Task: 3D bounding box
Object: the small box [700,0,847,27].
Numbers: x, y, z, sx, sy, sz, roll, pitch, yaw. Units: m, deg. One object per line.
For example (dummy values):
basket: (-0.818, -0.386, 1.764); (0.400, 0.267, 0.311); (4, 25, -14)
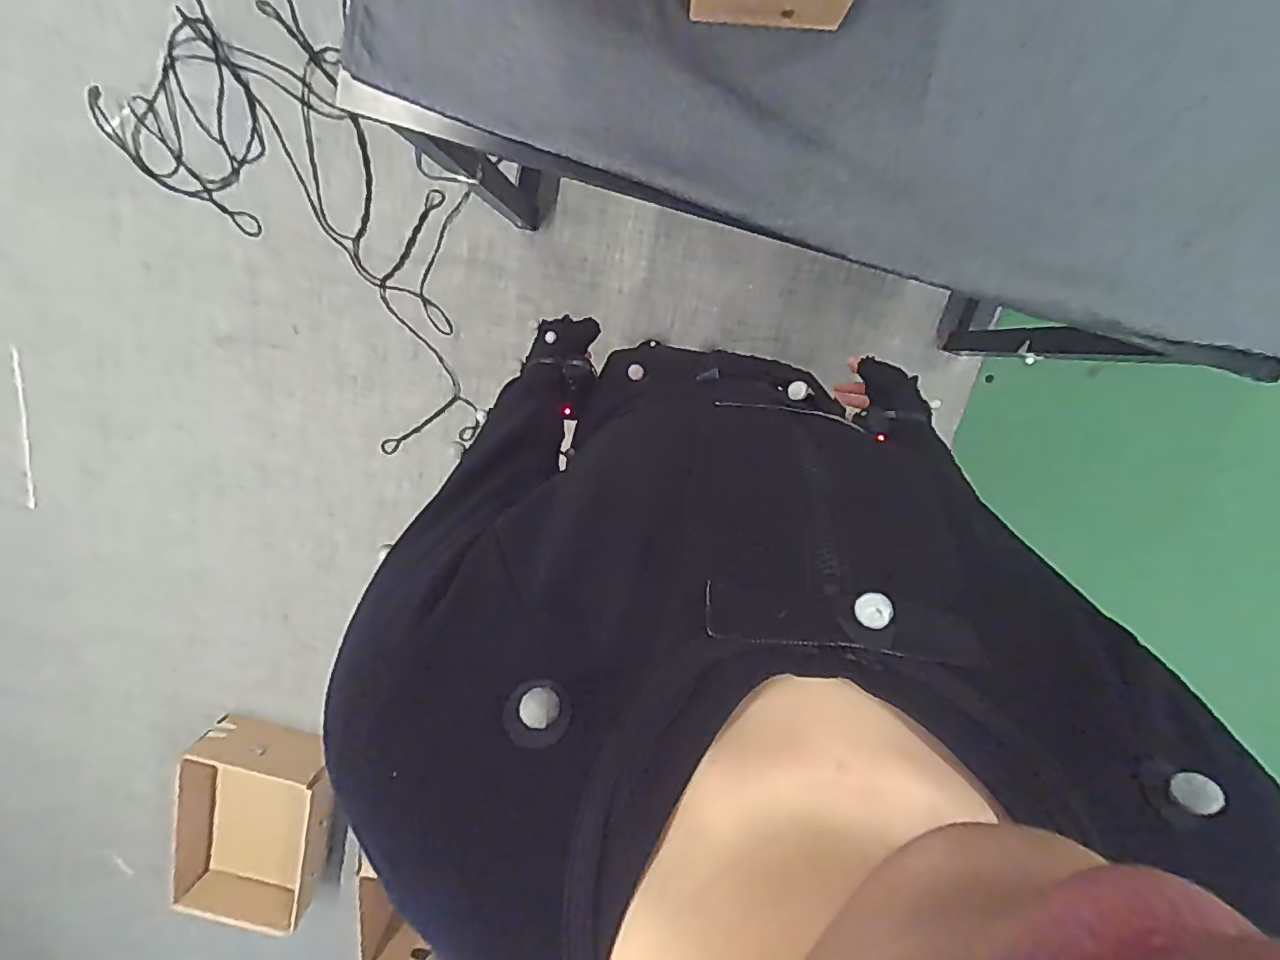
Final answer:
small box: (0.142, -0.570, 0.505); (0.168, 0.176, 0.179); (4, 104, 0)
